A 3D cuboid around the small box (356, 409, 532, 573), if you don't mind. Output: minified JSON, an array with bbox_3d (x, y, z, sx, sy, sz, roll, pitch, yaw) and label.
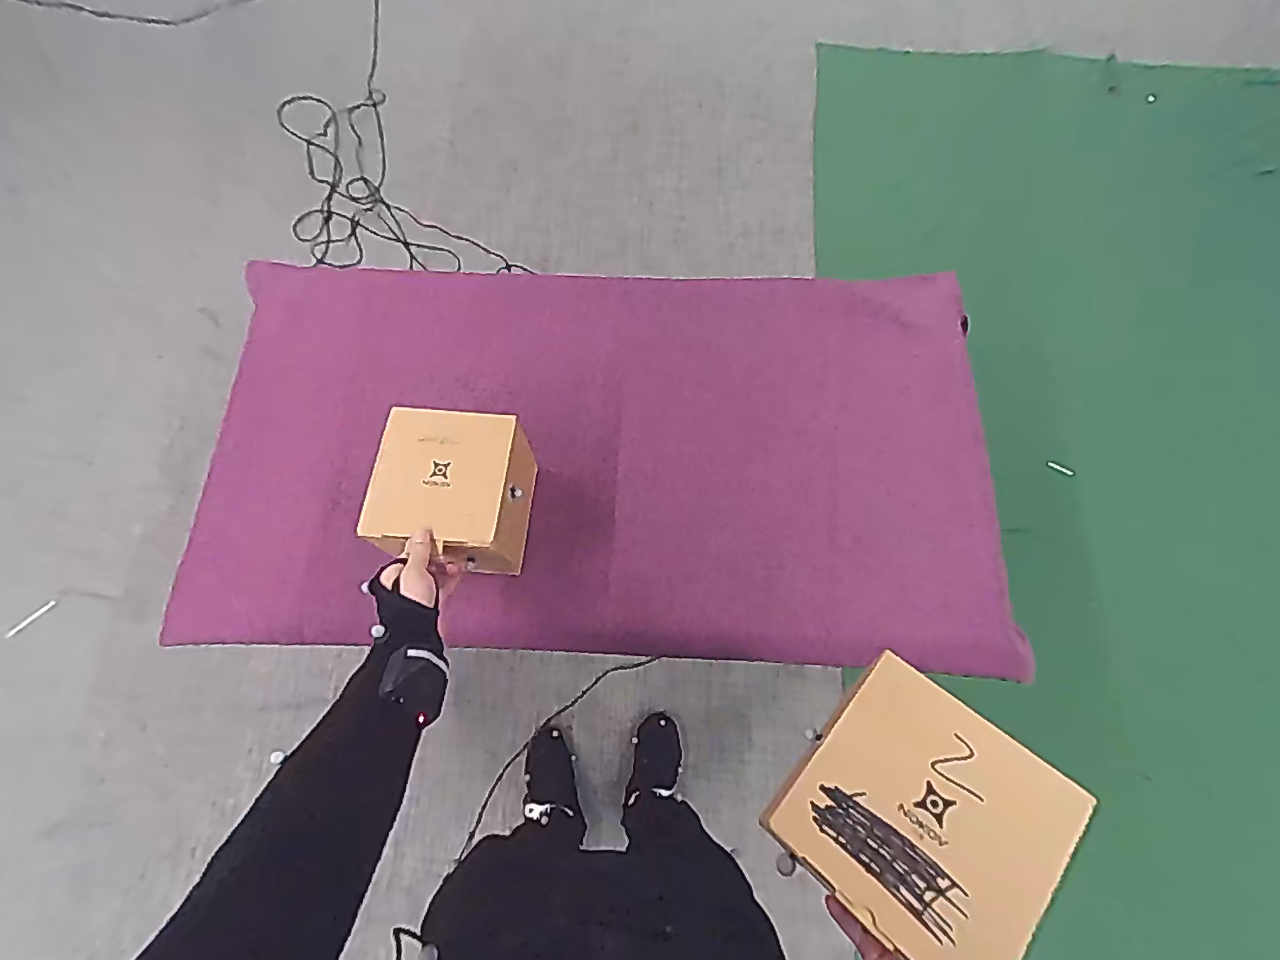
[{"bbox_3d":[-0.252,0.024,0.746,0.168,0.176,0.179,5,67,1],"label":"small box"}]
